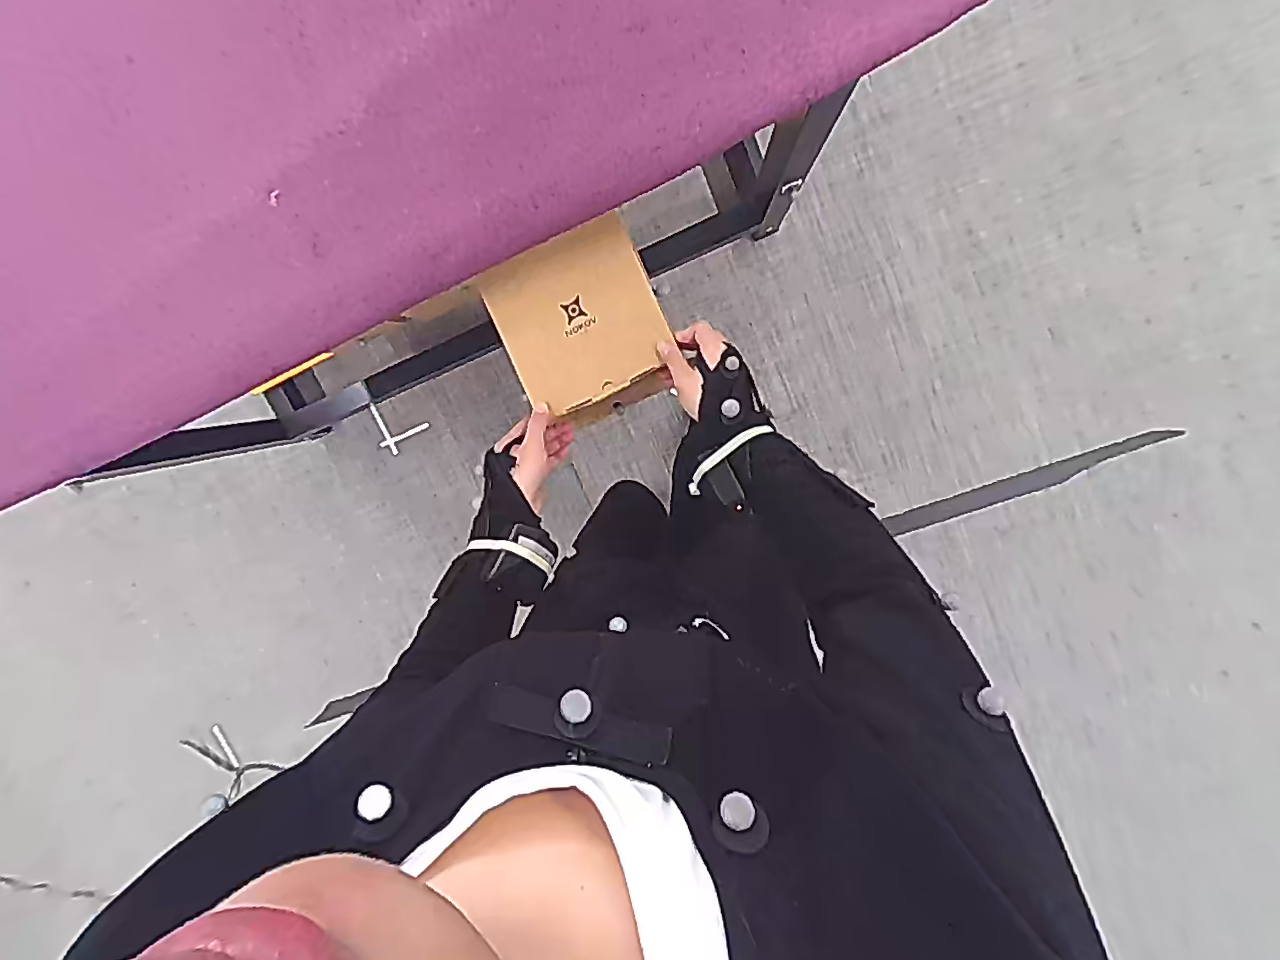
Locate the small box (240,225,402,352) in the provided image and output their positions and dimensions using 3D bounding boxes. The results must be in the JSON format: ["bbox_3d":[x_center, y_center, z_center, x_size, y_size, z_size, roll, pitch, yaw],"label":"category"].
[{"bbox_3d":[-0.602,-0.356,1.043,0.168,0.176,0.179,-21,102,9],"label":"small box"}]
